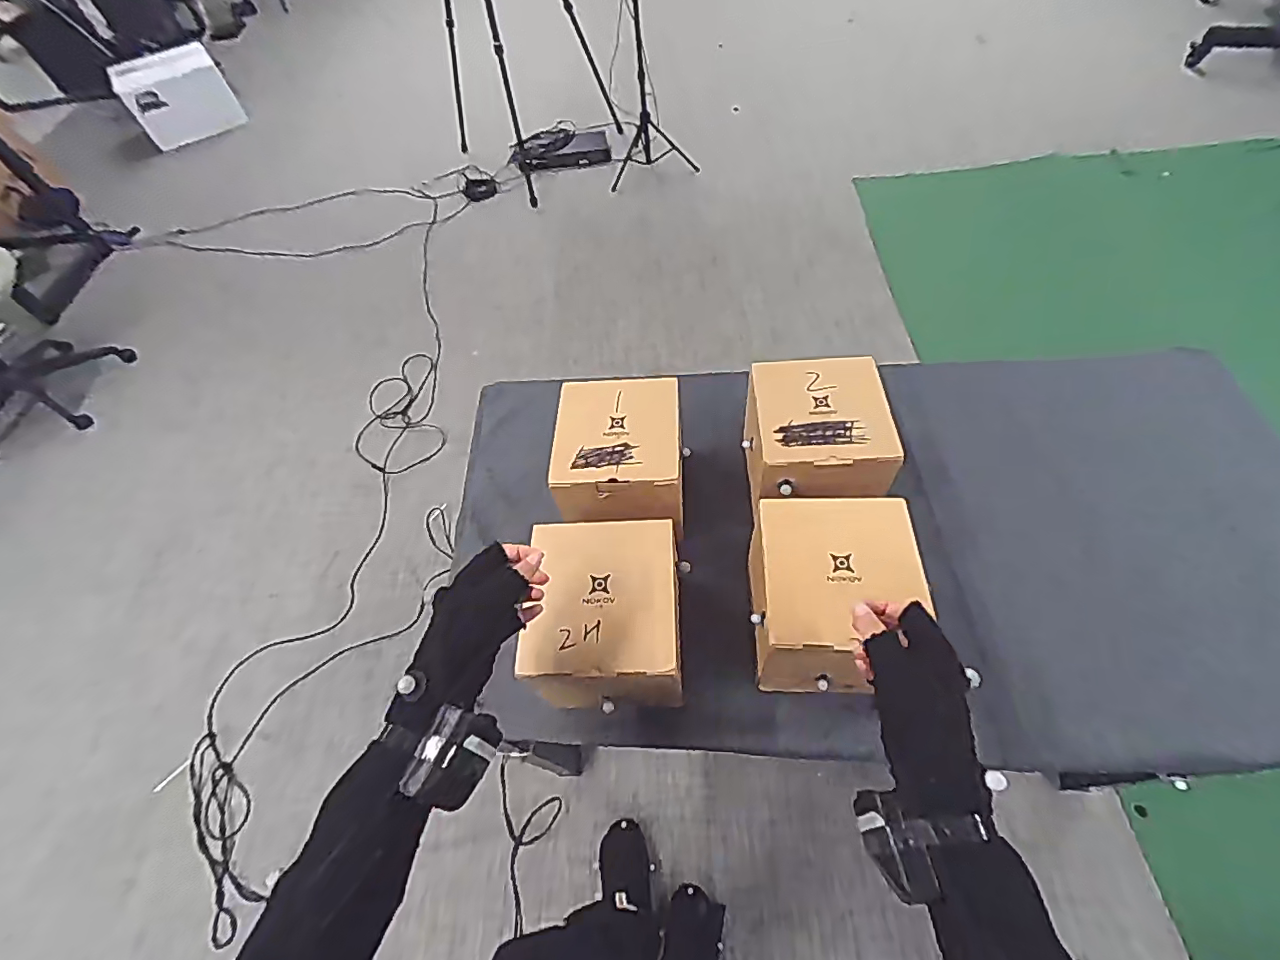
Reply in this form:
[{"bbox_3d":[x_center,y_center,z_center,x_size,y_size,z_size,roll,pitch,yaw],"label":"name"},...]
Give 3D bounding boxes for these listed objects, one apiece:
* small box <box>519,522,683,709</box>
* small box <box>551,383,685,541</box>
[{"bbox_3d":[-0.034,0.167,0.656,0.168,0.176,0.179,-3,57,5],"label":"small box"},{"bbox_3d":[-0.020,-0.017,0.782,0.168,0.176,0.179,-1,56,5],"label":"small box"}]
